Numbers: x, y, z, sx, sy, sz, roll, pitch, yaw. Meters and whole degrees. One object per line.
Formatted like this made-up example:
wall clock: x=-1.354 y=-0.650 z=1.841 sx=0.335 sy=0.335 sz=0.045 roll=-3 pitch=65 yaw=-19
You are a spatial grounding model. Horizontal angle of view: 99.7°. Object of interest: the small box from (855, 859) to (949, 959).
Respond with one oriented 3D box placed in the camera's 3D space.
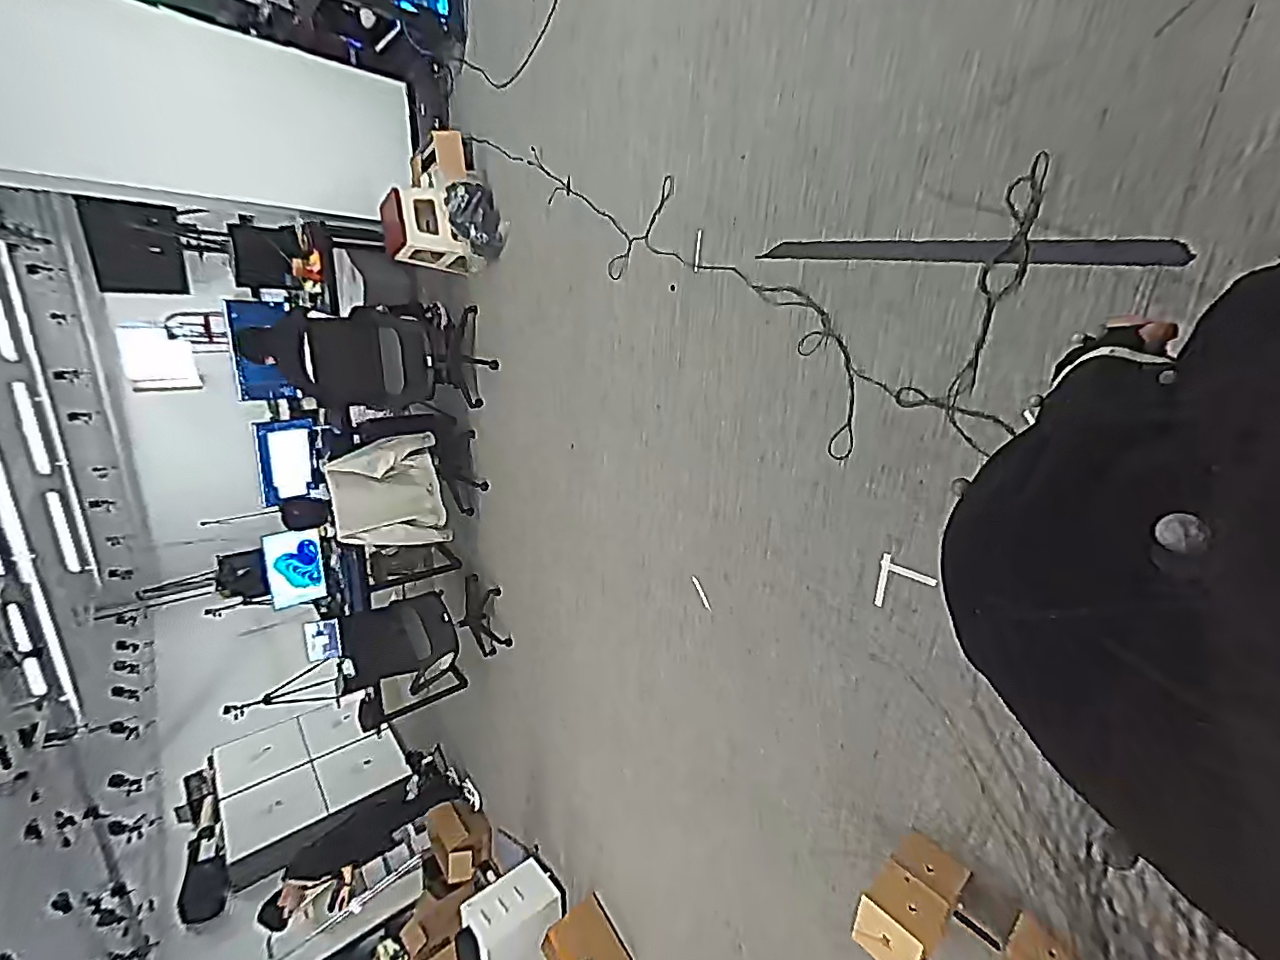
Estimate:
small box: x=0.724 y=1.204 z=1.489 sx=0.168 sy=0.176 sz=0.179 roll=22 pitch=117 yaw=46
